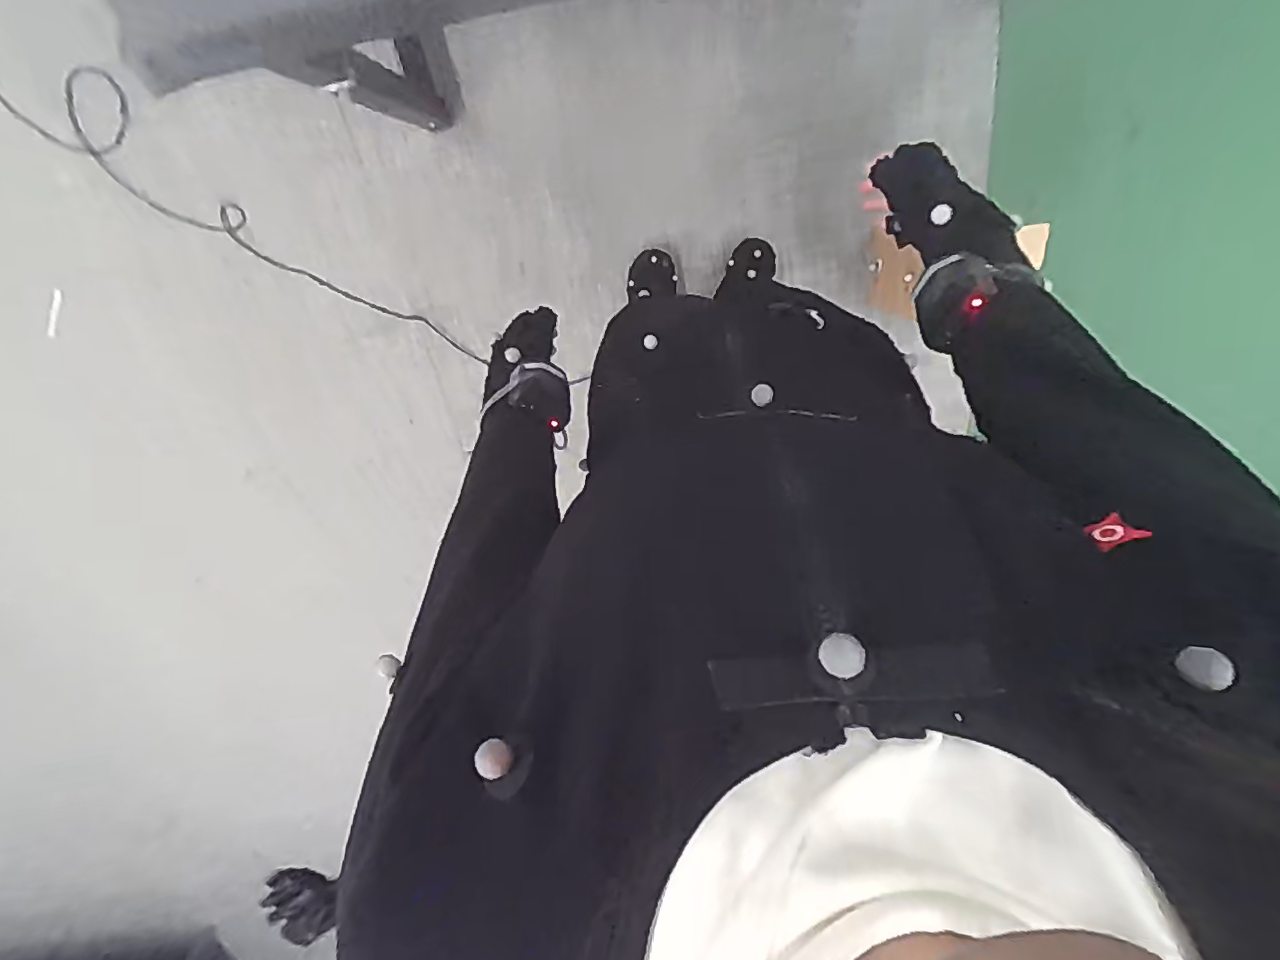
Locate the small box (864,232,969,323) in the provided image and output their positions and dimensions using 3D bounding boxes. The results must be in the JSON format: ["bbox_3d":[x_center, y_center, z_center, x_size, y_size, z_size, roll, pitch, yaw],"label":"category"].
[{"bbox_3d":[0.618,-0.451,1.195,0.179,0.176,0.168,-5,114,5],"label":"small box"}]

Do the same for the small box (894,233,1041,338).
[{"bbox_3d":[0.619,-0.380,1.046,0.179,0.176,0.168,-5,114,4],"label":"small box"}]
